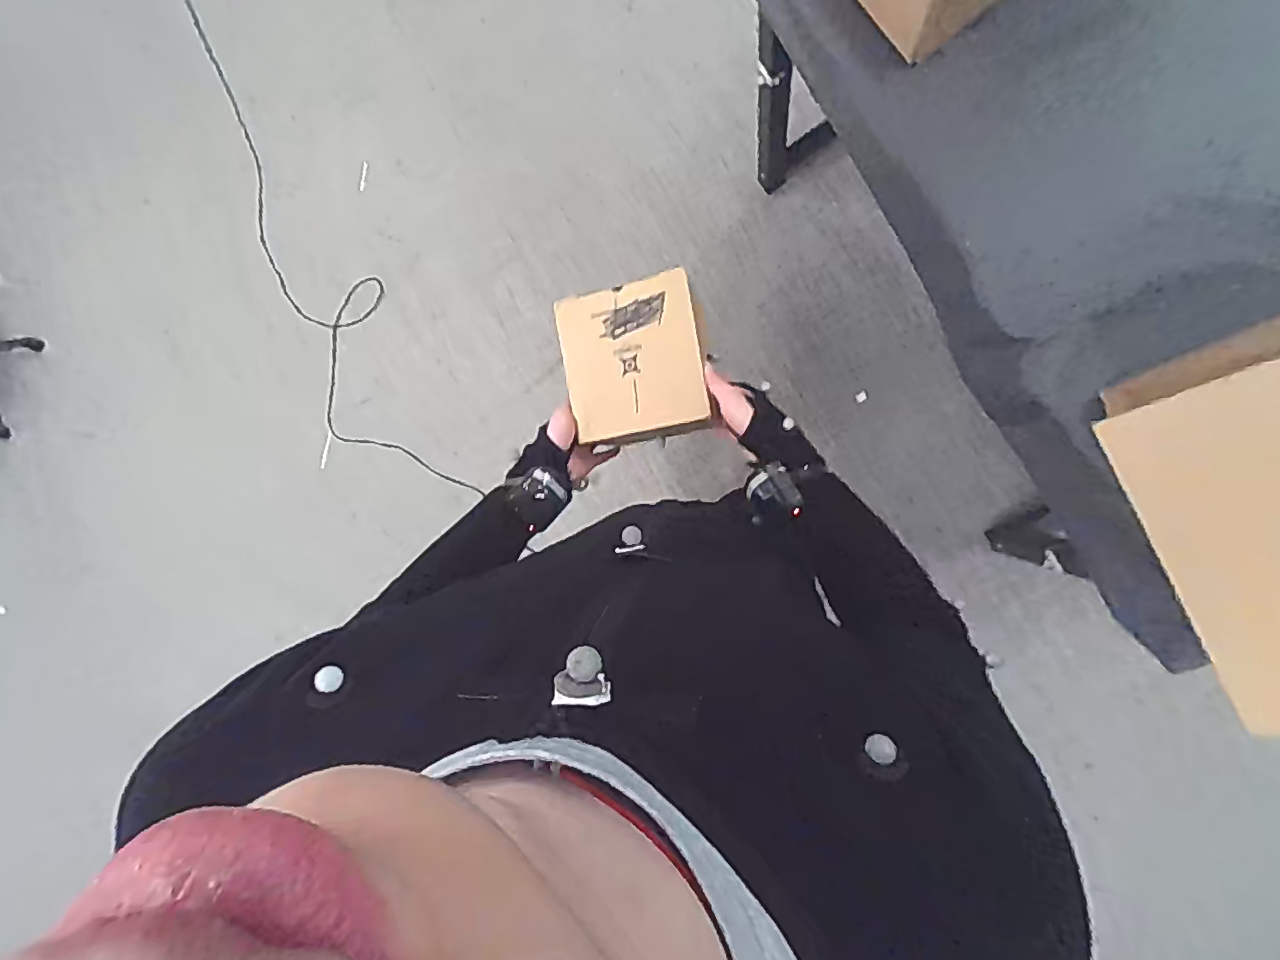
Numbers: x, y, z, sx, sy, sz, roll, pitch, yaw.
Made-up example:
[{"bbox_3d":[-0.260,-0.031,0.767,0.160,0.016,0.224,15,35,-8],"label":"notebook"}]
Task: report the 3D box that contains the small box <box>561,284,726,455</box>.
[{"bbox_3d":[0.015,-0.130,0.704,0.168,0.176,0.179,-9,92,15],"label":"small box"}]
